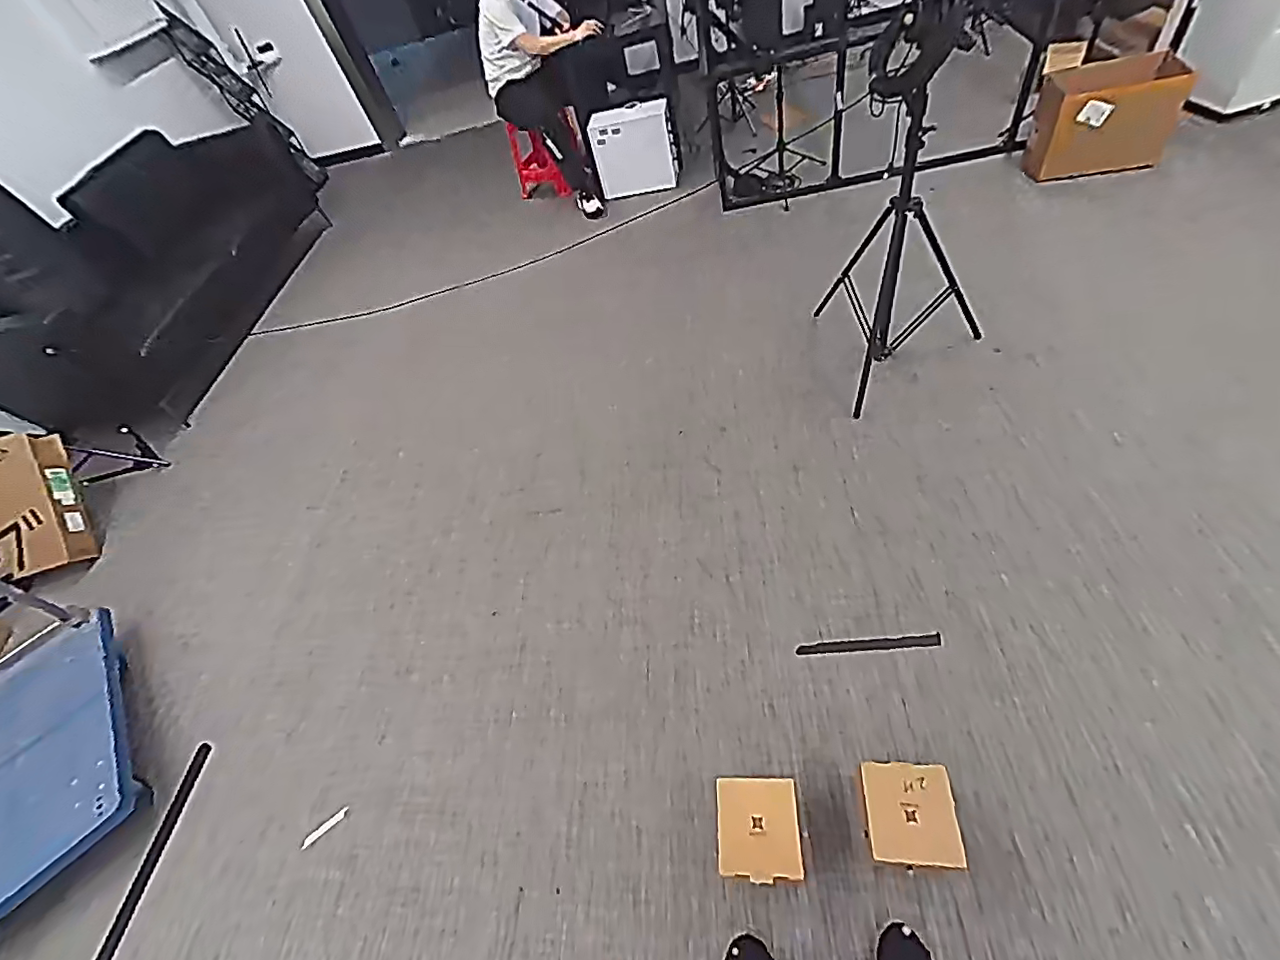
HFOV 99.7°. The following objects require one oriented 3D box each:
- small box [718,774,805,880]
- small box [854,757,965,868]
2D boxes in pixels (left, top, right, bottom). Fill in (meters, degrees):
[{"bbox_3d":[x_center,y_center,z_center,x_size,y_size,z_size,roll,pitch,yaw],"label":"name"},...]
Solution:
[{"bbox_3d":[0.260,0.751,1.171,0.168,0.176,0.179,-6,52,12],"label":"small box"},{"bbox_3d":[0.550,0.695,1.127,0.168,0.176,0.179,-3,52,13],"label":"small box"}]
